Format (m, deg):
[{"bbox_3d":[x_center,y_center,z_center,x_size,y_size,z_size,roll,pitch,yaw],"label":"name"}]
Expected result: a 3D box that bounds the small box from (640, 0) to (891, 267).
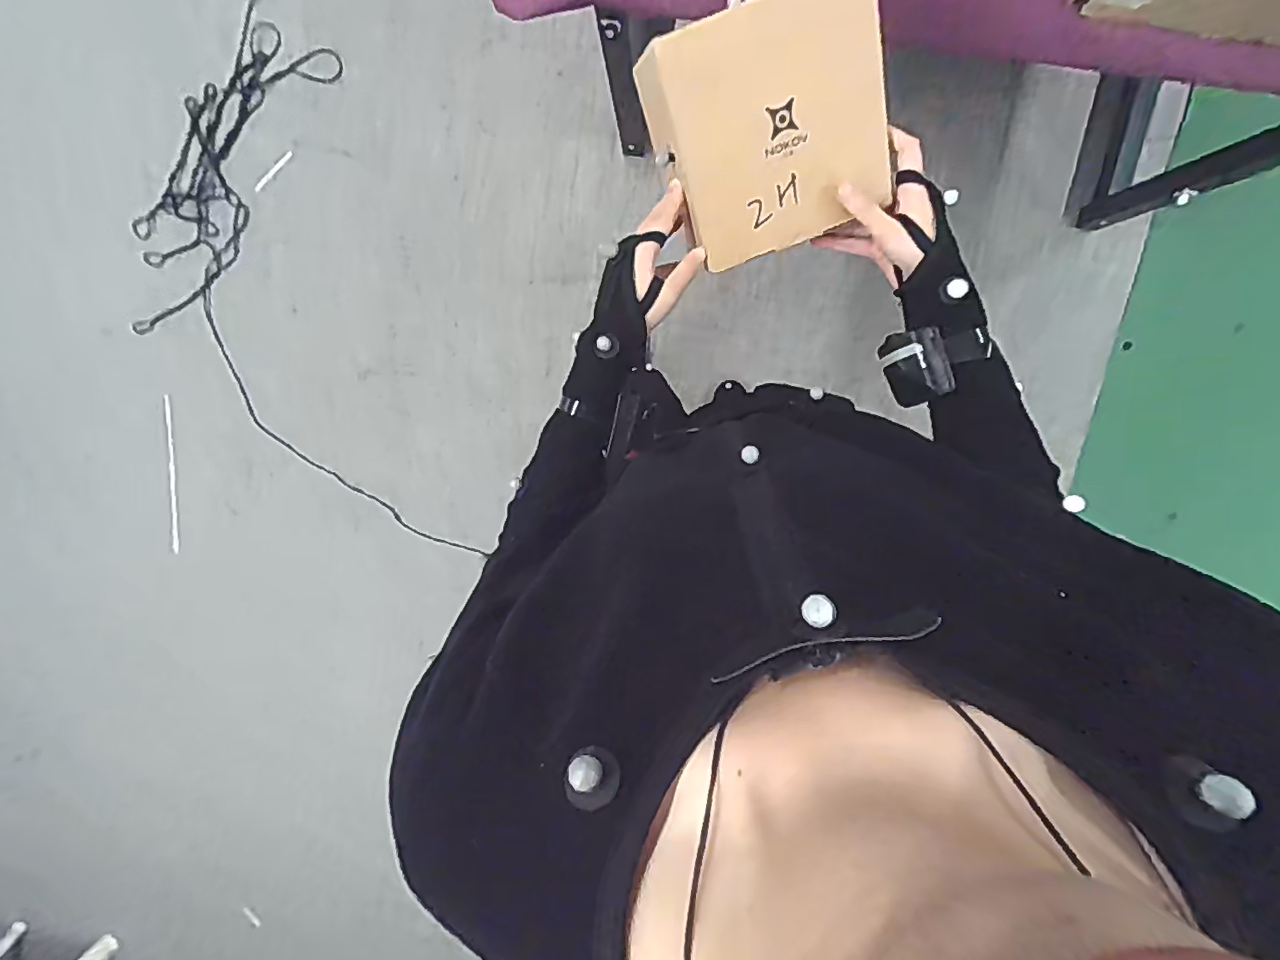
[{"bbox_3d":[0.105,-0.320,0.496,0.168,0.176,0.179,-18,121,5],"label":"small box"}]
